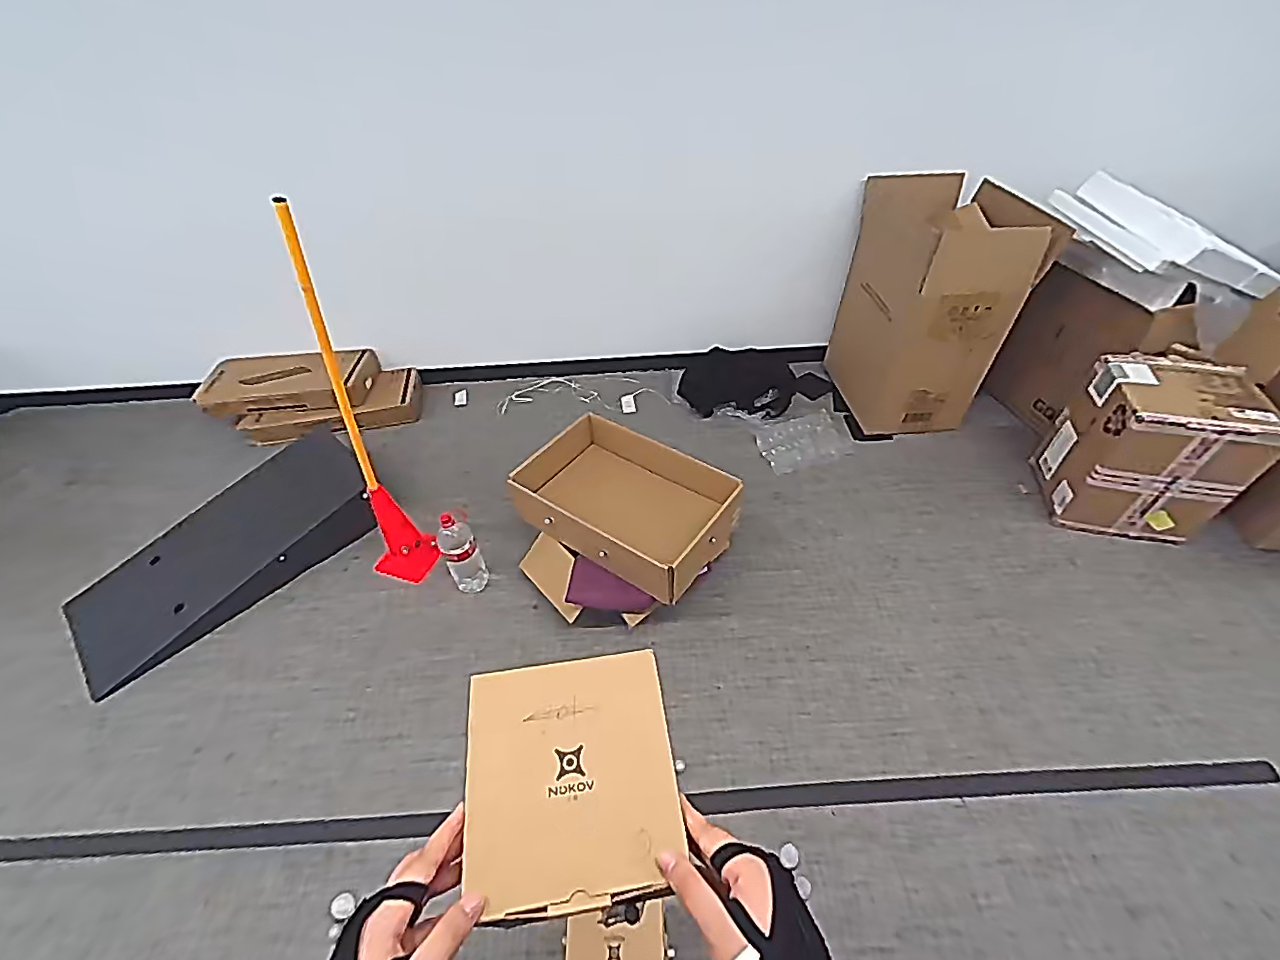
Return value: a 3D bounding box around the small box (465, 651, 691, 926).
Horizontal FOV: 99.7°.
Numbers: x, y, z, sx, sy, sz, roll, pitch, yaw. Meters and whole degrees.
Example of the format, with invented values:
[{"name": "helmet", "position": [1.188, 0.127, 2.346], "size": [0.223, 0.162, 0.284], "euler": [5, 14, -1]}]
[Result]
[{"name": "small box", "position": [-0.055, 0.281, 0.495], "size": [0.168, 0.176, 0.179], "euler": [-6, 50, -7]}]
